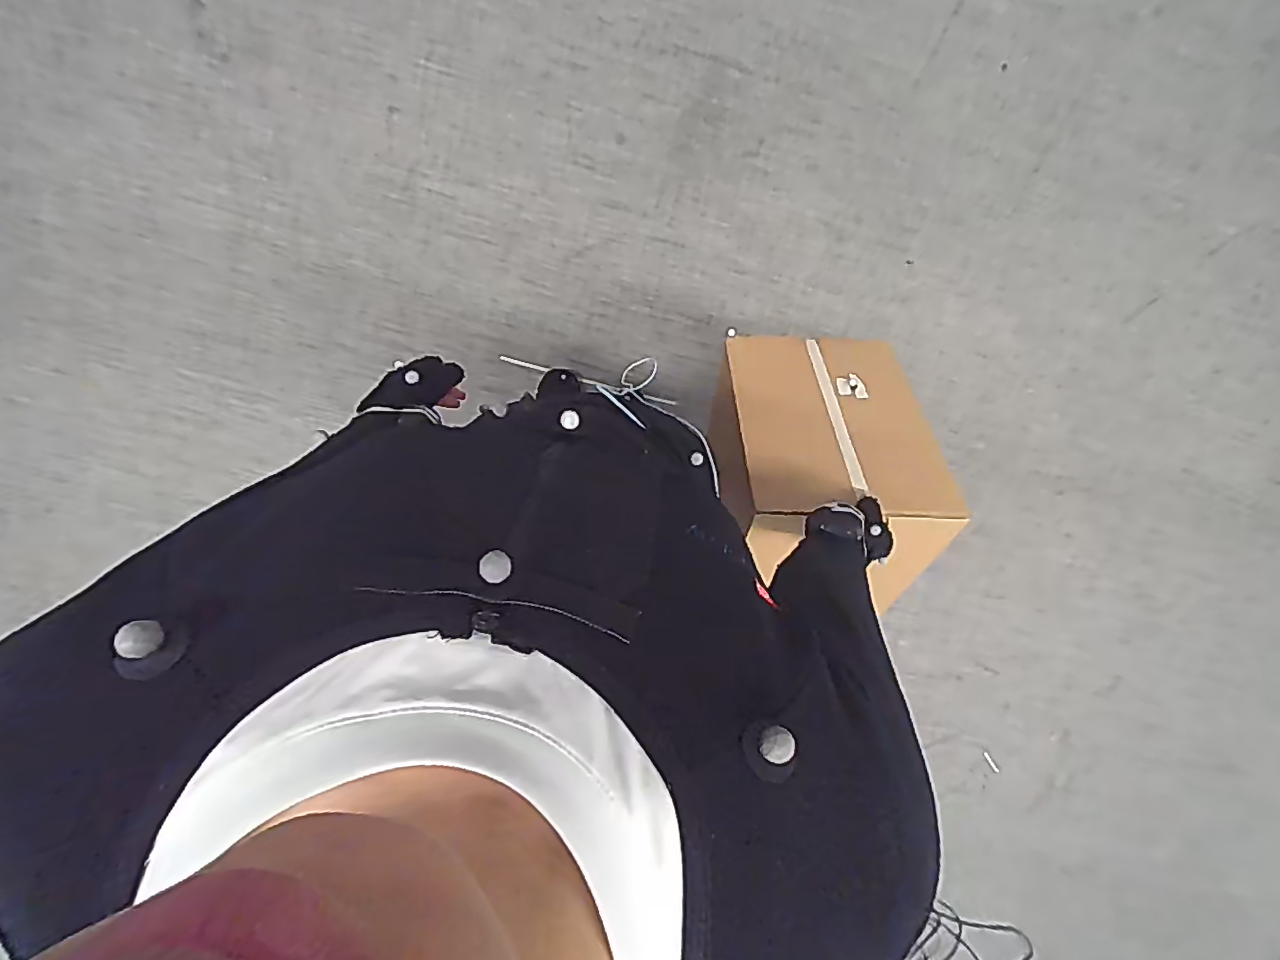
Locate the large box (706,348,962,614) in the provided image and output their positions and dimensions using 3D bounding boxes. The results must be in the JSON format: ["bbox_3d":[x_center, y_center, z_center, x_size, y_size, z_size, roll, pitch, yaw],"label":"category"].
[{"bbox_3d":[0.308,0.003,1.015,0.320,0.408,0.320,2,140,-3],"label":"large box"}]
